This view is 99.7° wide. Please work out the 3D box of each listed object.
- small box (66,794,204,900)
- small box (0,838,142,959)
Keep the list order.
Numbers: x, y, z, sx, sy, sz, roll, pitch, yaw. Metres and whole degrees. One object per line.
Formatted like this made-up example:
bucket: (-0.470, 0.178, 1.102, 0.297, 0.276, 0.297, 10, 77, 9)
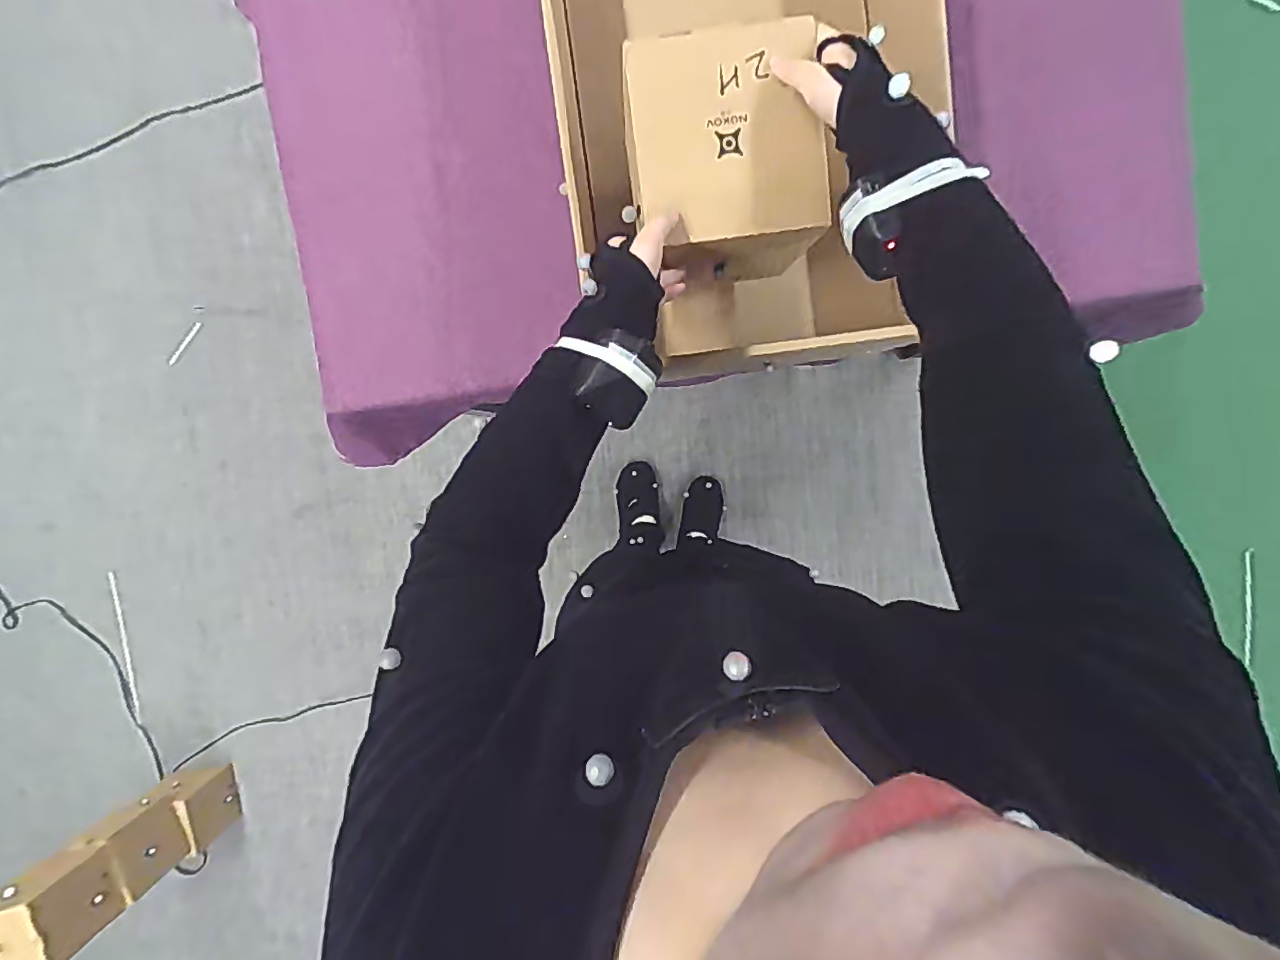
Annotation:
small box: (-1.278, 0.939, 1.380, 0.168, 0.176, 0.179, -18, 94, 4)
small box: (-1.299, 0.955, 1.219, 0.179, 0.176, 0.168, -15, 94, 3)
